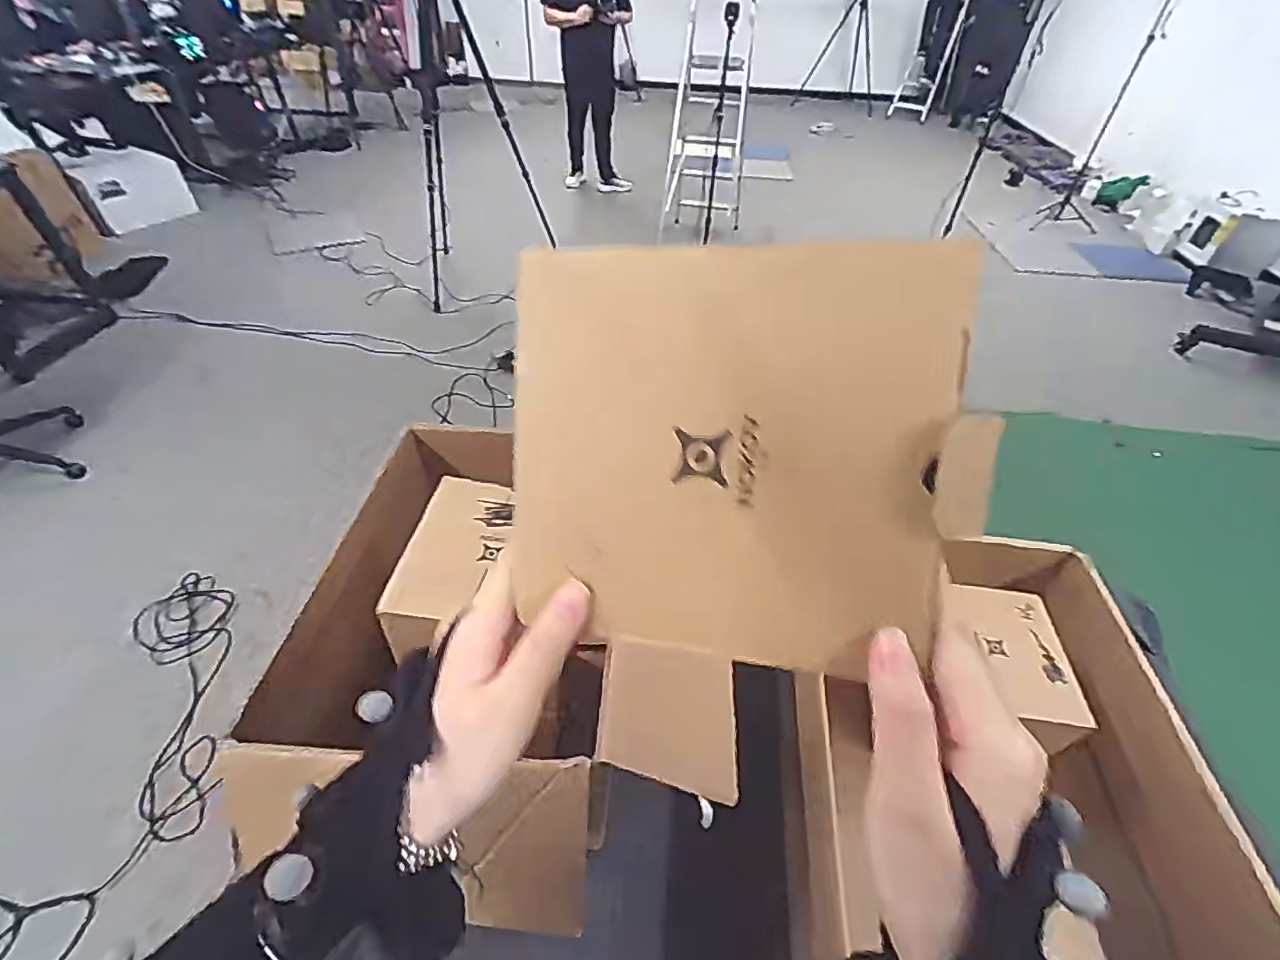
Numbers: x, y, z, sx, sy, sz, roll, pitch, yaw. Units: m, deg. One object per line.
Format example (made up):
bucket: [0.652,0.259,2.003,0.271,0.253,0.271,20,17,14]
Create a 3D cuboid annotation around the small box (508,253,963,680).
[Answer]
small box: [0.046,-0.018,0.301,0.179,0.168,0.176,5,9,13]
